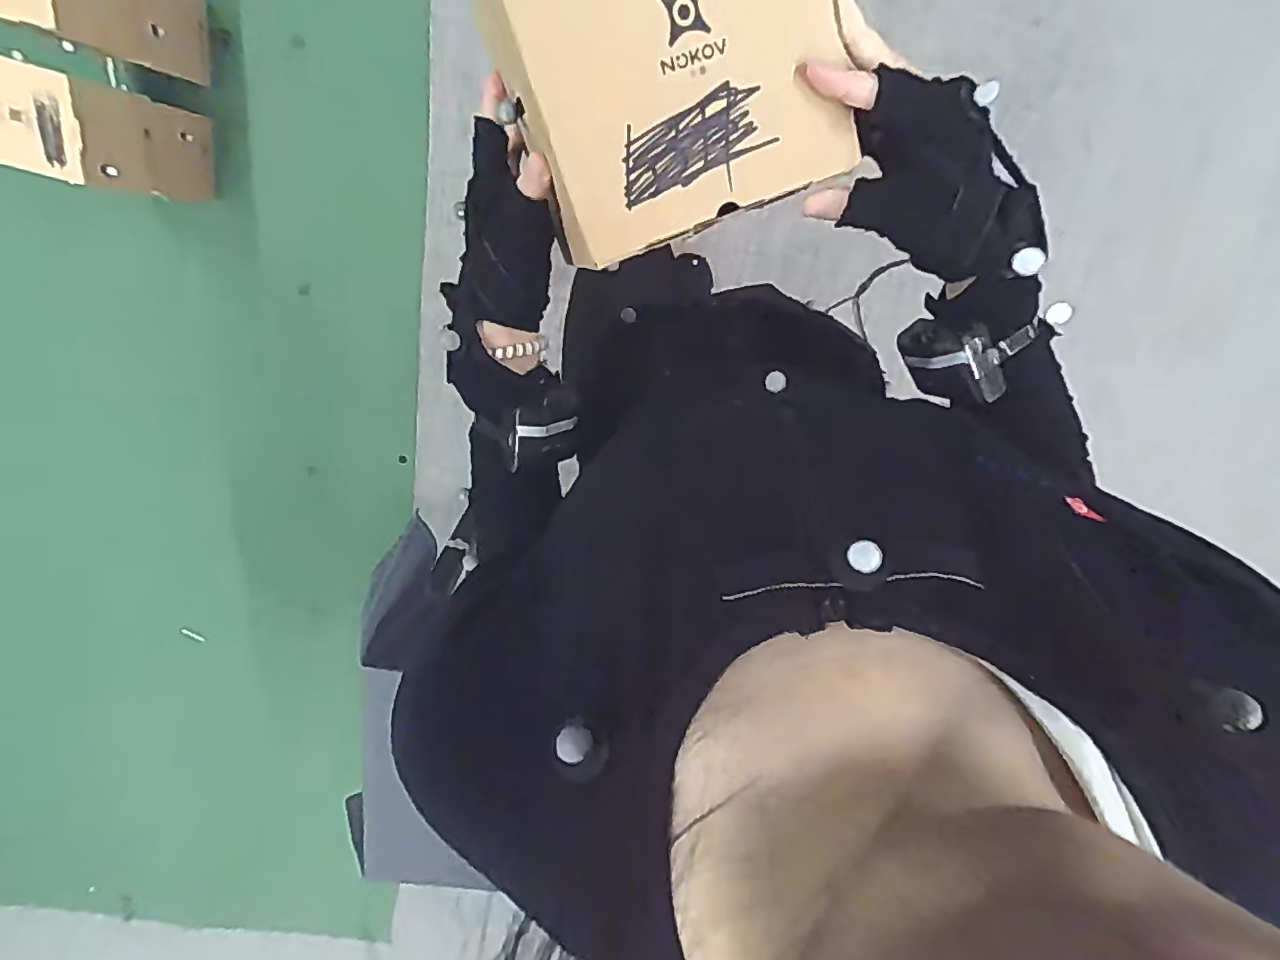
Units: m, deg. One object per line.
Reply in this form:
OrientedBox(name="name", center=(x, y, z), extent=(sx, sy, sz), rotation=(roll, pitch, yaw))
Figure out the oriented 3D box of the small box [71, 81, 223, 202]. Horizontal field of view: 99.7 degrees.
OrientedBox(name="small box", center=(-1.022, -0.701, 1.142), extent=(0.179, 0.176, 0.168), rotation=(15, 113, -7))
